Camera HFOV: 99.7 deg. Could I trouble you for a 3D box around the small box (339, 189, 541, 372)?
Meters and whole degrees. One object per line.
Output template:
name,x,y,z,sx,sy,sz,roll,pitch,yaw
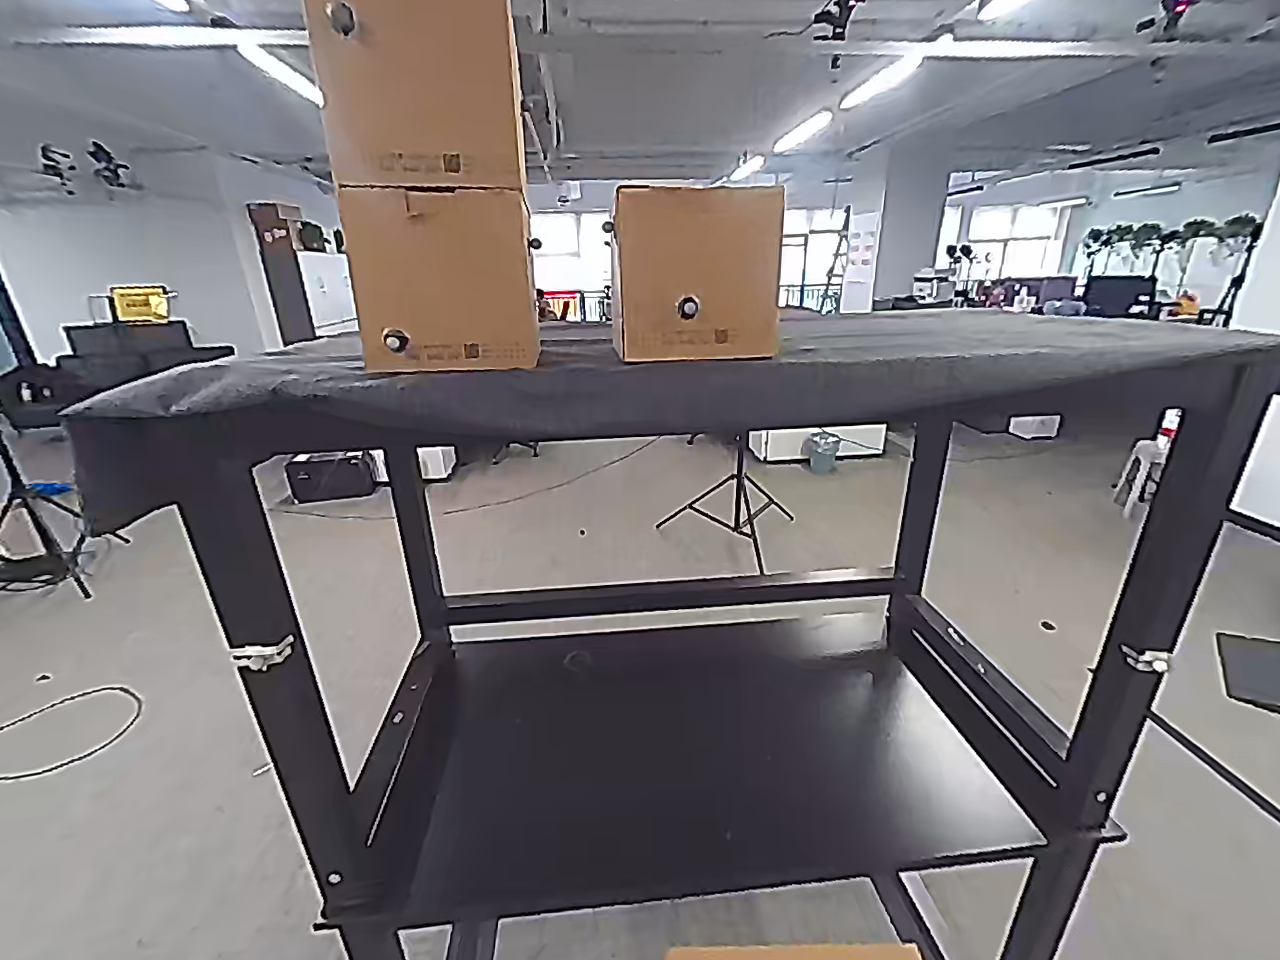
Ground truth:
small box,-0.200,-0.212,0.597,0.168,0.176,0.179,-3,19,-7

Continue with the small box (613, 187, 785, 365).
small box,0.055,-0.227,0.623,0.168,0.176,0.179,-3,19,-5
